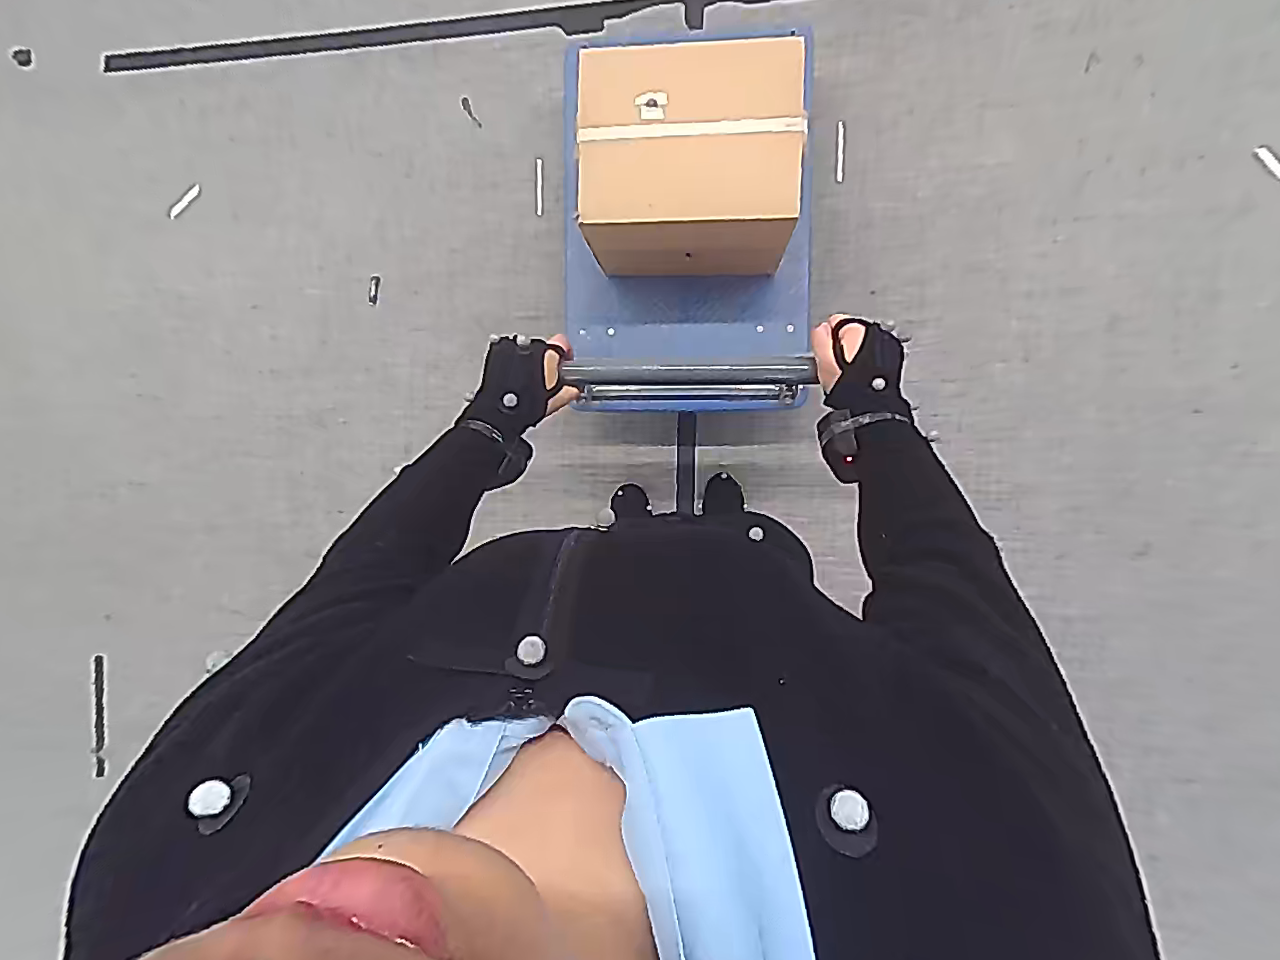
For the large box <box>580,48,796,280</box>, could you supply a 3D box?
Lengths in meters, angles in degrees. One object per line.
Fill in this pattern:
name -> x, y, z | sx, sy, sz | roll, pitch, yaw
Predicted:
large box -> 0.103, -0.631, 1.146 | 0.408, 0.320, 0.320 | 1, 92, 7
